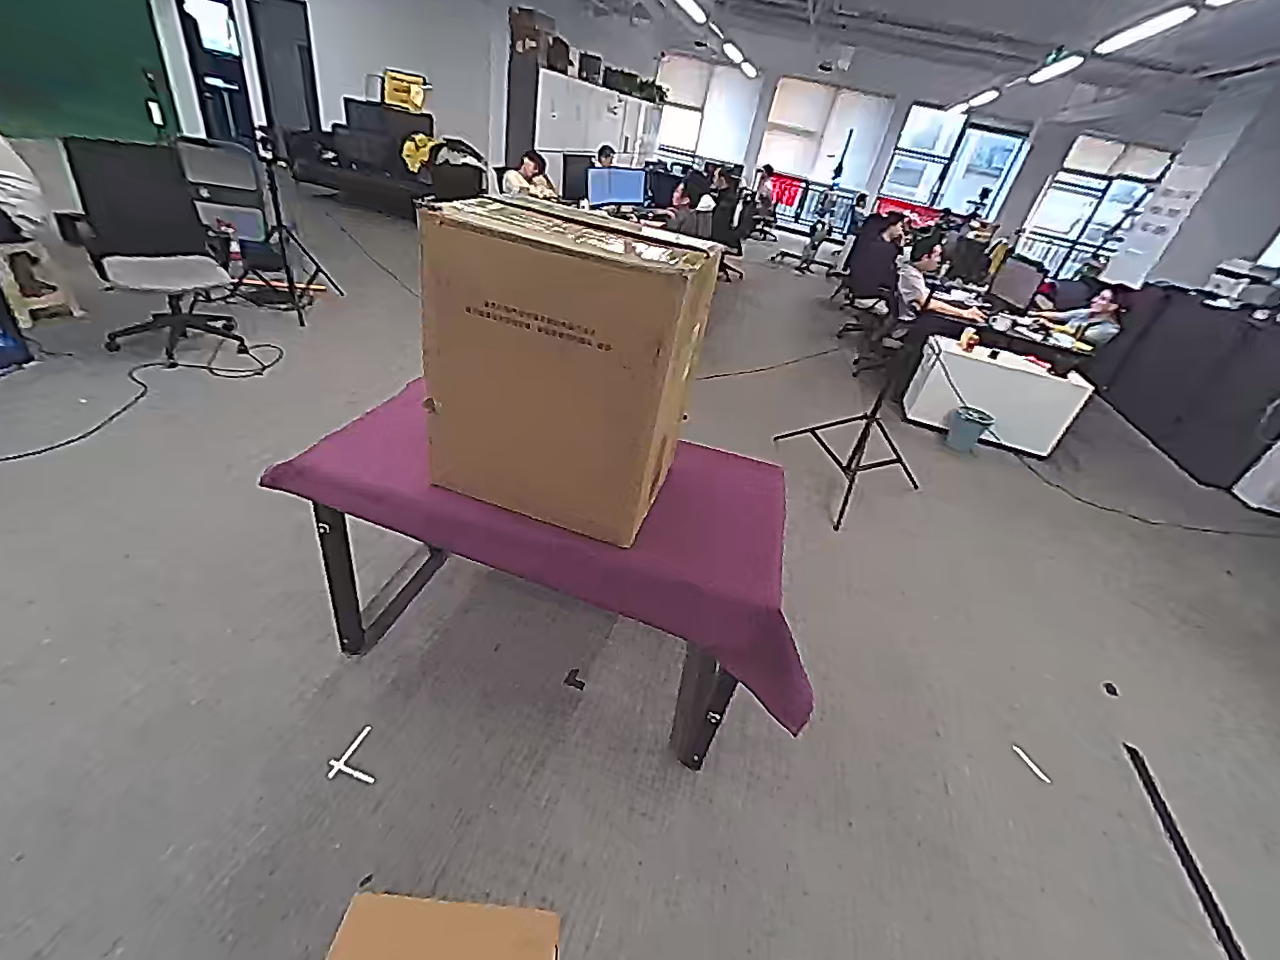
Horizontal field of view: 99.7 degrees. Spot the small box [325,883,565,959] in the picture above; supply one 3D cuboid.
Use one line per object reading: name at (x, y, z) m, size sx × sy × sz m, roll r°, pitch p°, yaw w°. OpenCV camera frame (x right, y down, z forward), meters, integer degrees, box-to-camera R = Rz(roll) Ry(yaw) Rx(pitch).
small box at (-0.157, 0.440, 0.389) m, size 0.179 × 0.176 × 0.168 m, roll 11°, pitch 6°, yaw -9°
